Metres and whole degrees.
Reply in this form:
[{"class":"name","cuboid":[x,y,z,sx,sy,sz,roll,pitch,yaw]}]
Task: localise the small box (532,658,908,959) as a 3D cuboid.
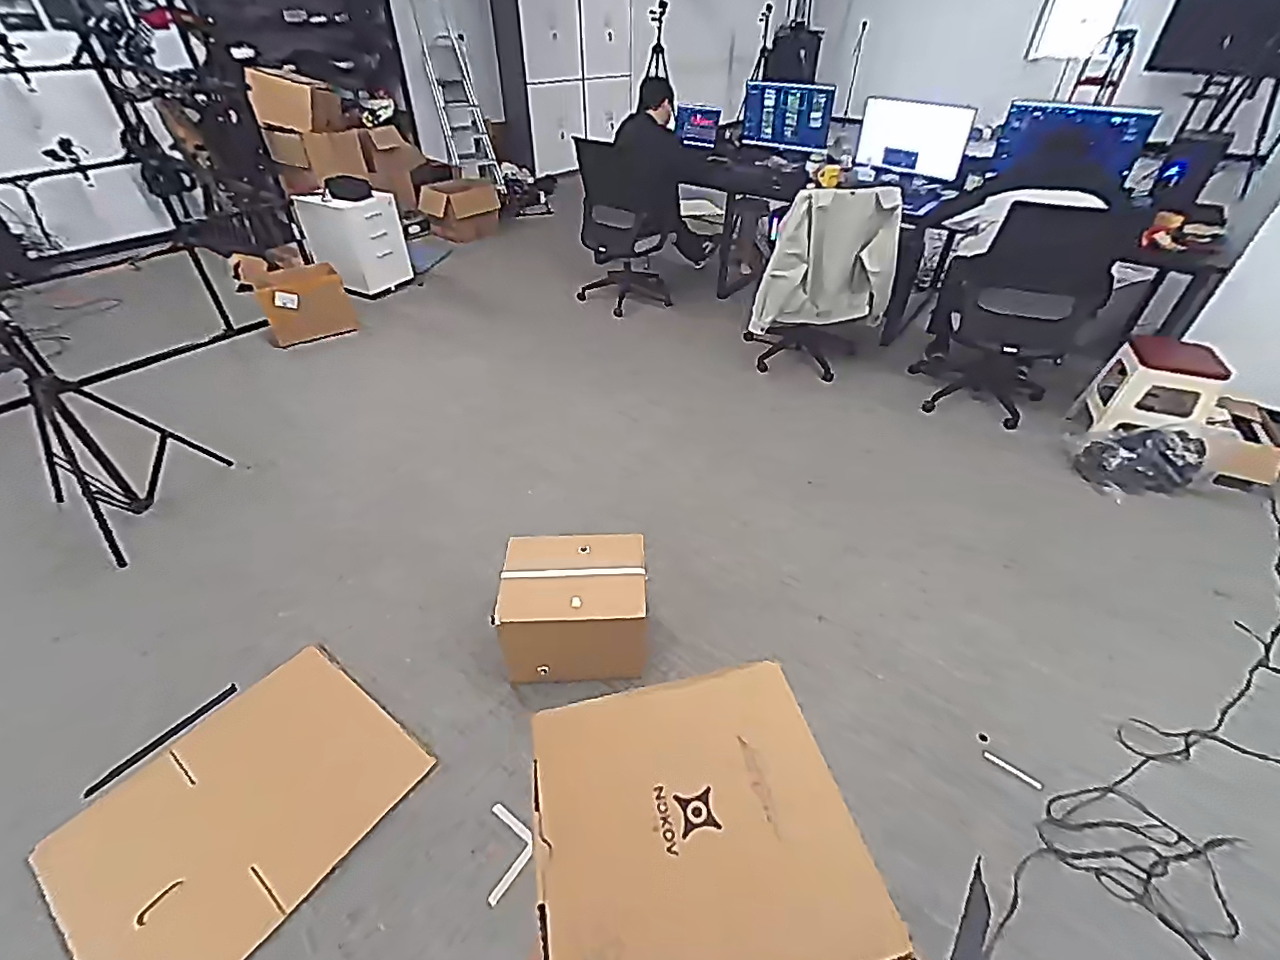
[{"class":"small box","cuboid":[0.034,0.252,0.358,0.179,0.176,0.168,-10,40,-9]}]
